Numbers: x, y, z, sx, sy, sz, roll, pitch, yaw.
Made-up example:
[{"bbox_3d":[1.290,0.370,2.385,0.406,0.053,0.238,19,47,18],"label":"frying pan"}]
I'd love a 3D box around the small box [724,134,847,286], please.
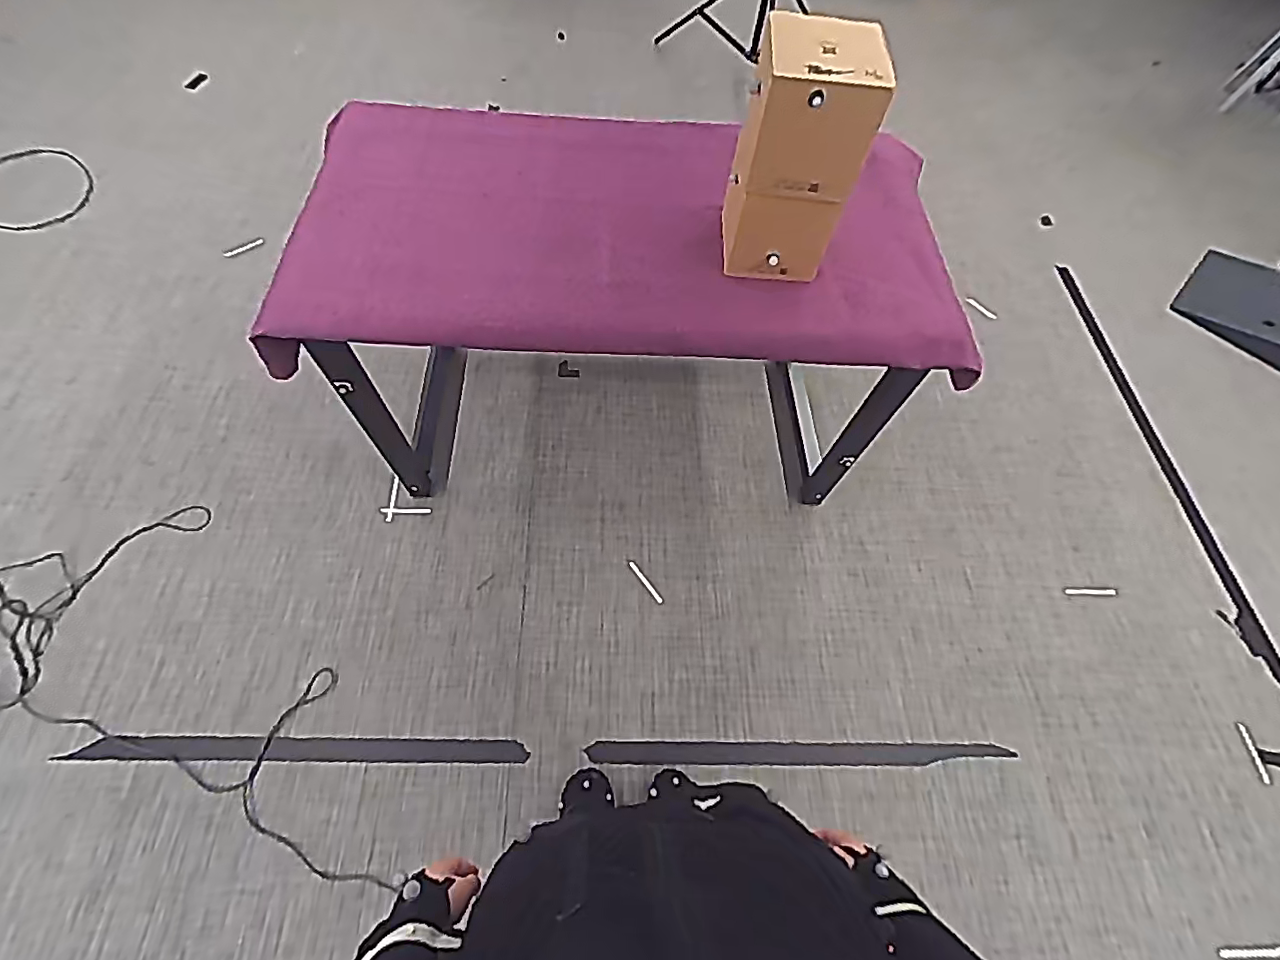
[{"bbox_3d":[0.246,-0.476,0.962,0.168,0.176,0.179,4,63,-1],"label":"small box"}]

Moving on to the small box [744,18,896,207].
[{"bbox_3d":[0.256,-0.548,0.815,0.168,0.176,0.179,5,61,0],"label":"small box"}]
